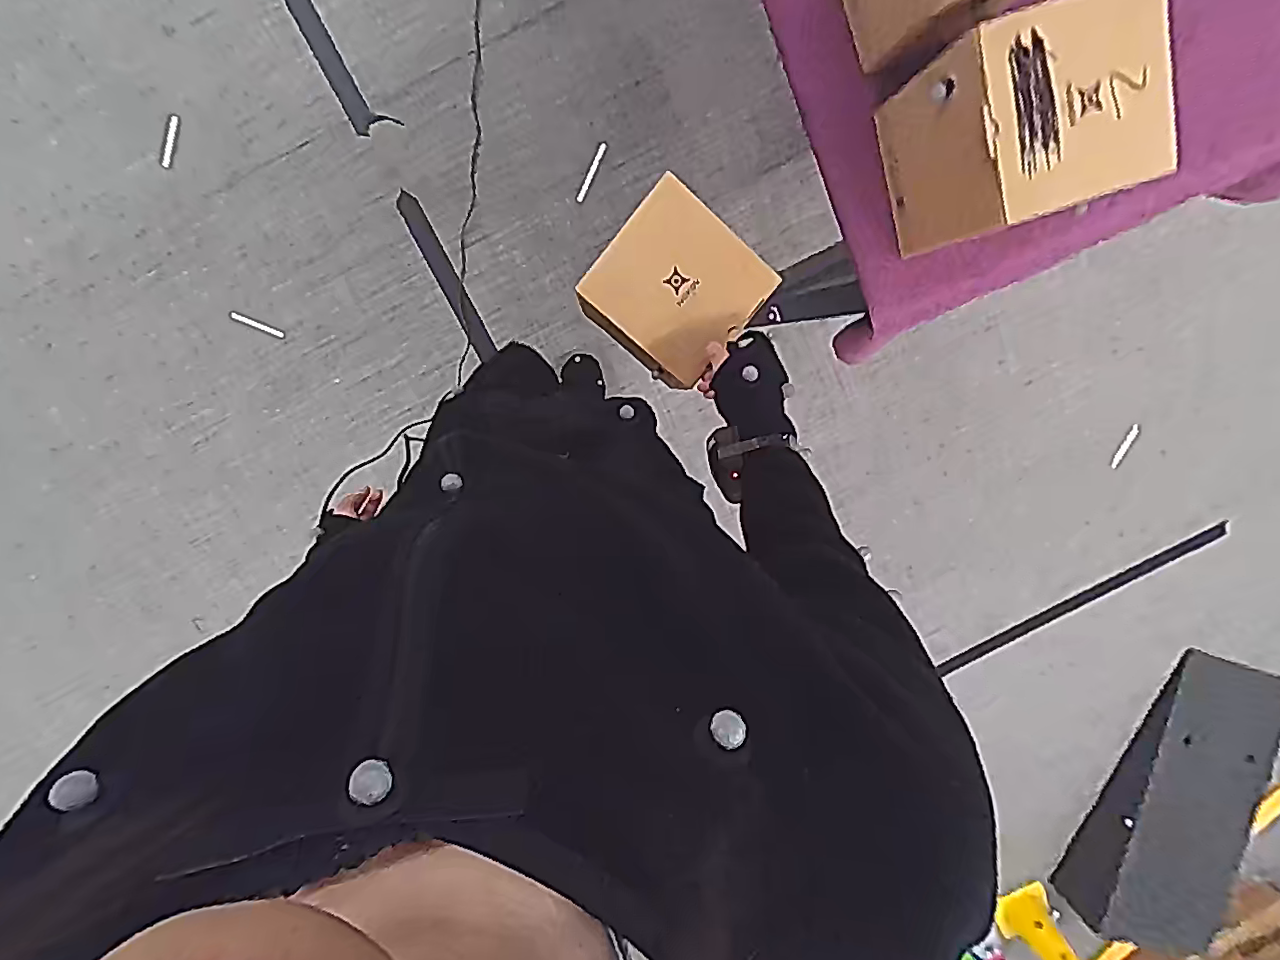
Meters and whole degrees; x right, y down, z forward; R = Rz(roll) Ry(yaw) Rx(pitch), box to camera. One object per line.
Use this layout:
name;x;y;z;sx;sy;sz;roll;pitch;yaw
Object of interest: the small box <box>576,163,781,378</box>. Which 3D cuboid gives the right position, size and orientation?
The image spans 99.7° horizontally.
small box;0.037;-0.243;0.680;0.179;0.176;0.168;38;96;-11
